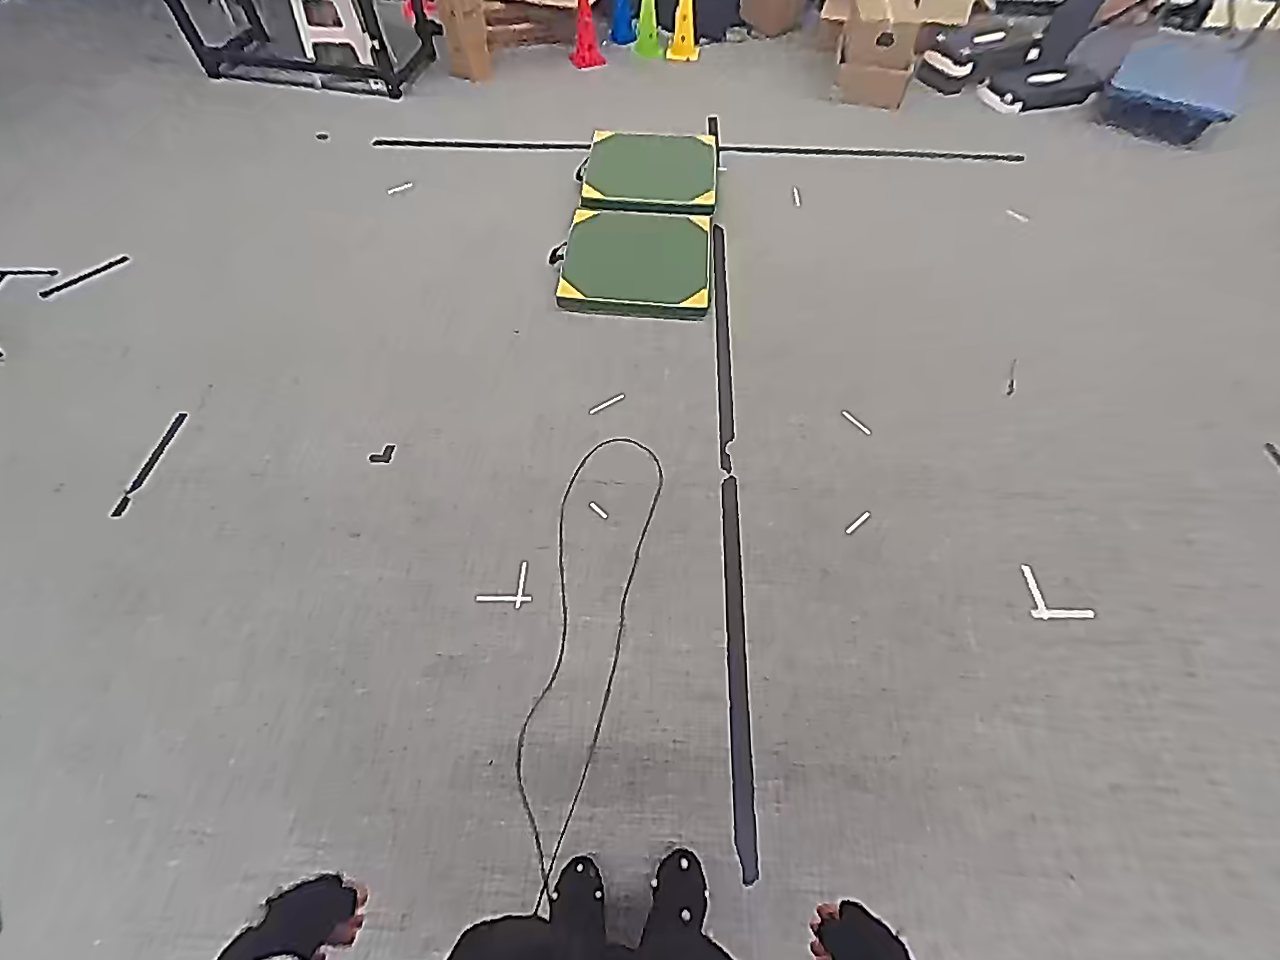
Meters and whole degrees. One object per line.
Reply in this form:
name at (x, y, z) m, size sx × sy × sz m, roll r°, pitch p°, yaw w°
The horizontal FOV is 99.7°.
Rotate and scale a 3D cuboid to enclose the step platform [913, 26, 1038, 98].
step platform at (1.993, -2.488, 3.210) m, size 0.684 × 0.204 × 0.286 m, roll -23°, pitch 61°, yaw -14°
